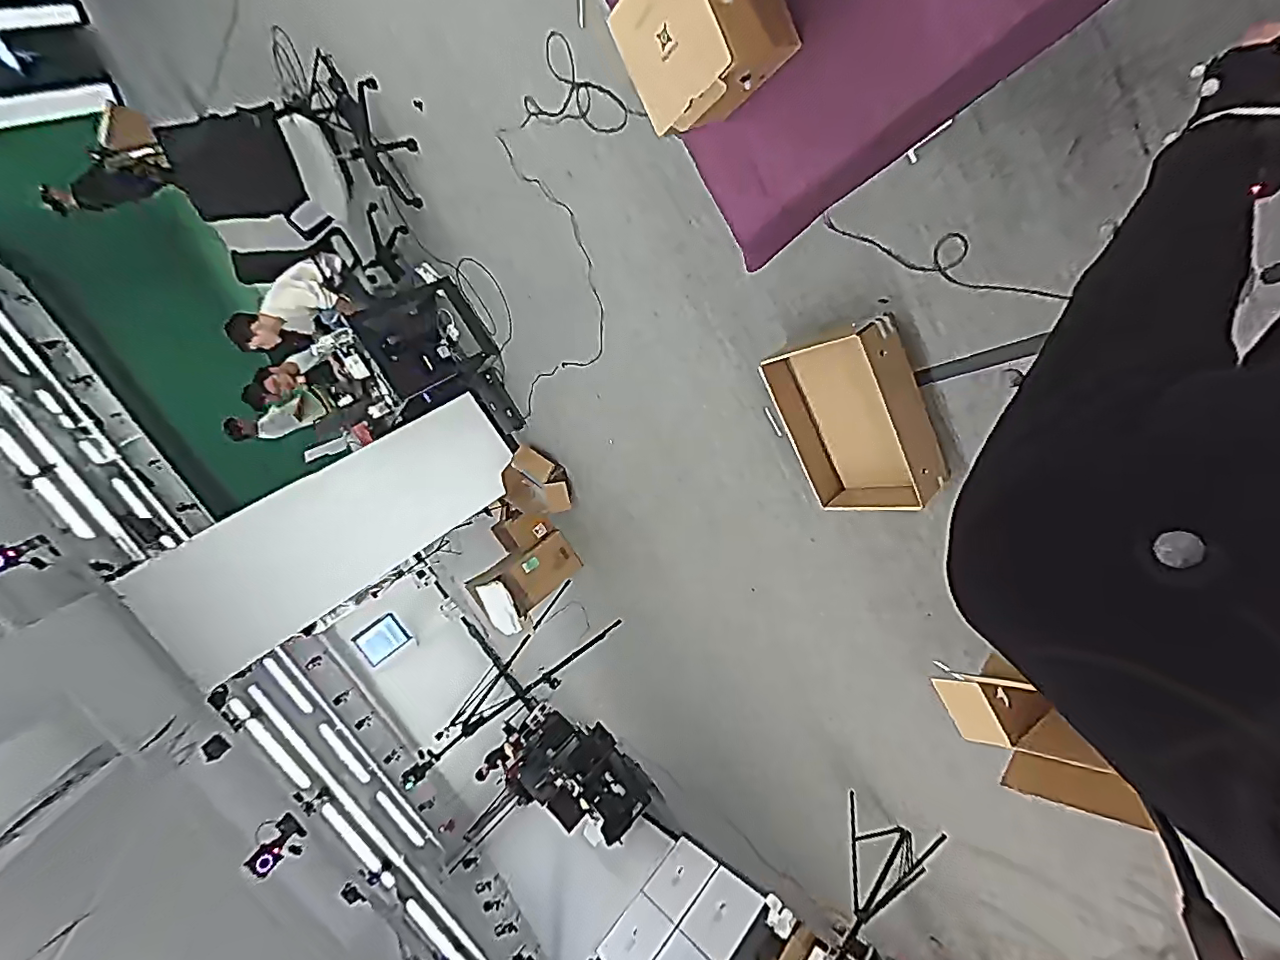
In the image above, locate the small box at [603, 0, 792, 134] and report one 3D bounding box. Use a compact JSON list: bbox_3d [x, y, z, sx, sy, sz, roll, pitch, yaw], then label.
[{"bbox_3d":[0.086,-0.646,0.773,0.168,0.176,0.179,-7,116,56],"label":"small box"}]
